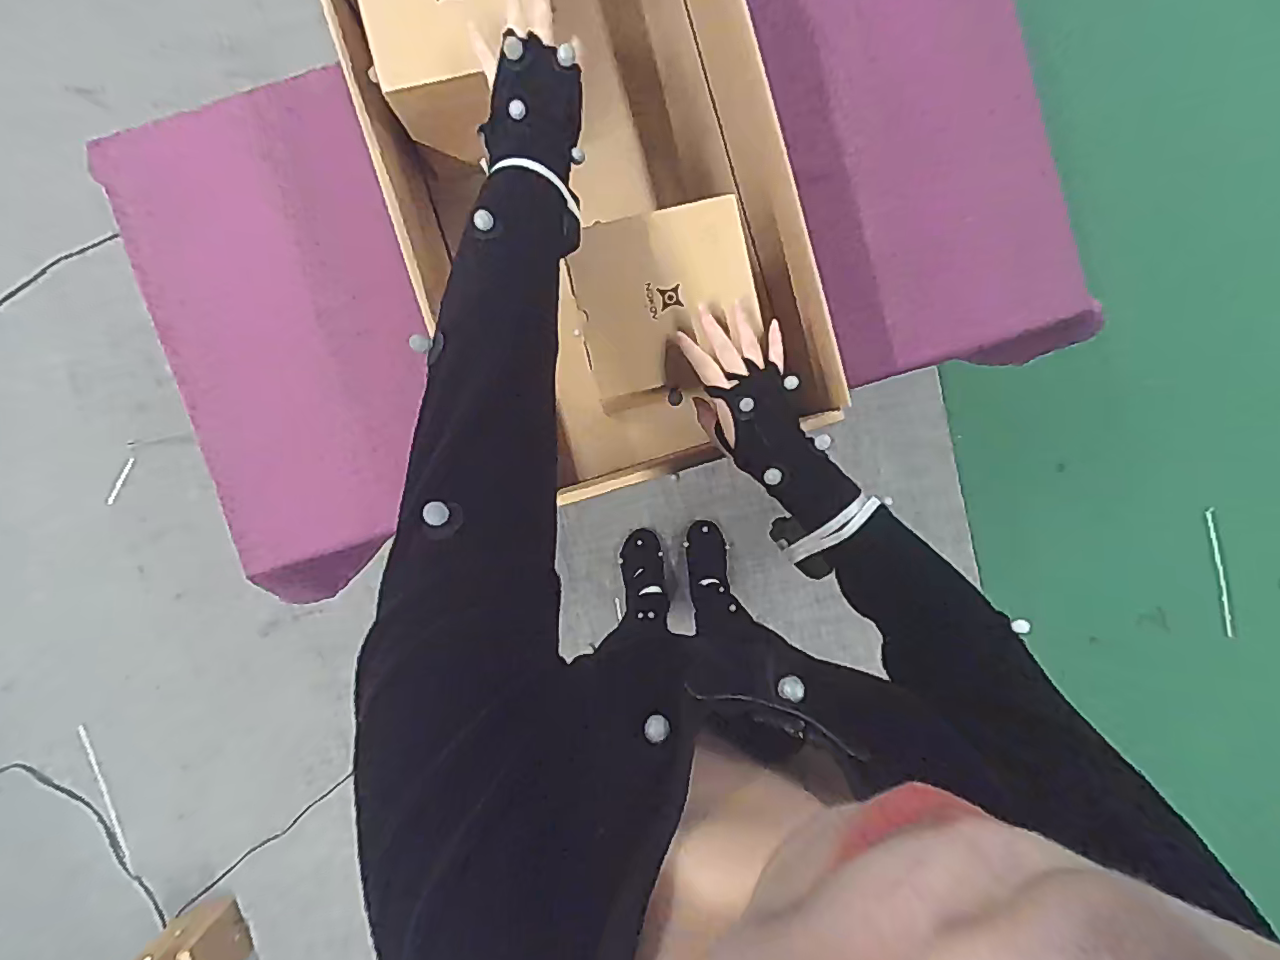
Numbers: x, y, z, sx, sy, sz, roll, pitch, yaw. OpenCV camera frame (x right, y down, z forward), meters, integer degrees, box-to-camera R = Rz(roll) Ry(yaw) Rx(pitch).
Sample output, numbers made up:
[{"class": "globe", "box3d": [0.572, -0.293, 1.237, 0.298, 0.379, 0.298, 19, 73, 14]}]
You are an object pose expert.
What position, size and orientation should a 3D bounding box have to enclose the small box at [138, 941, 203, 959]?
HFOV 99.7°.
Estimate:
[{"class": "small box", "box3d": [-1.206, 1.292, 1.329, 0.168, 0.176, 0.179, -28, 94, 3]}]
